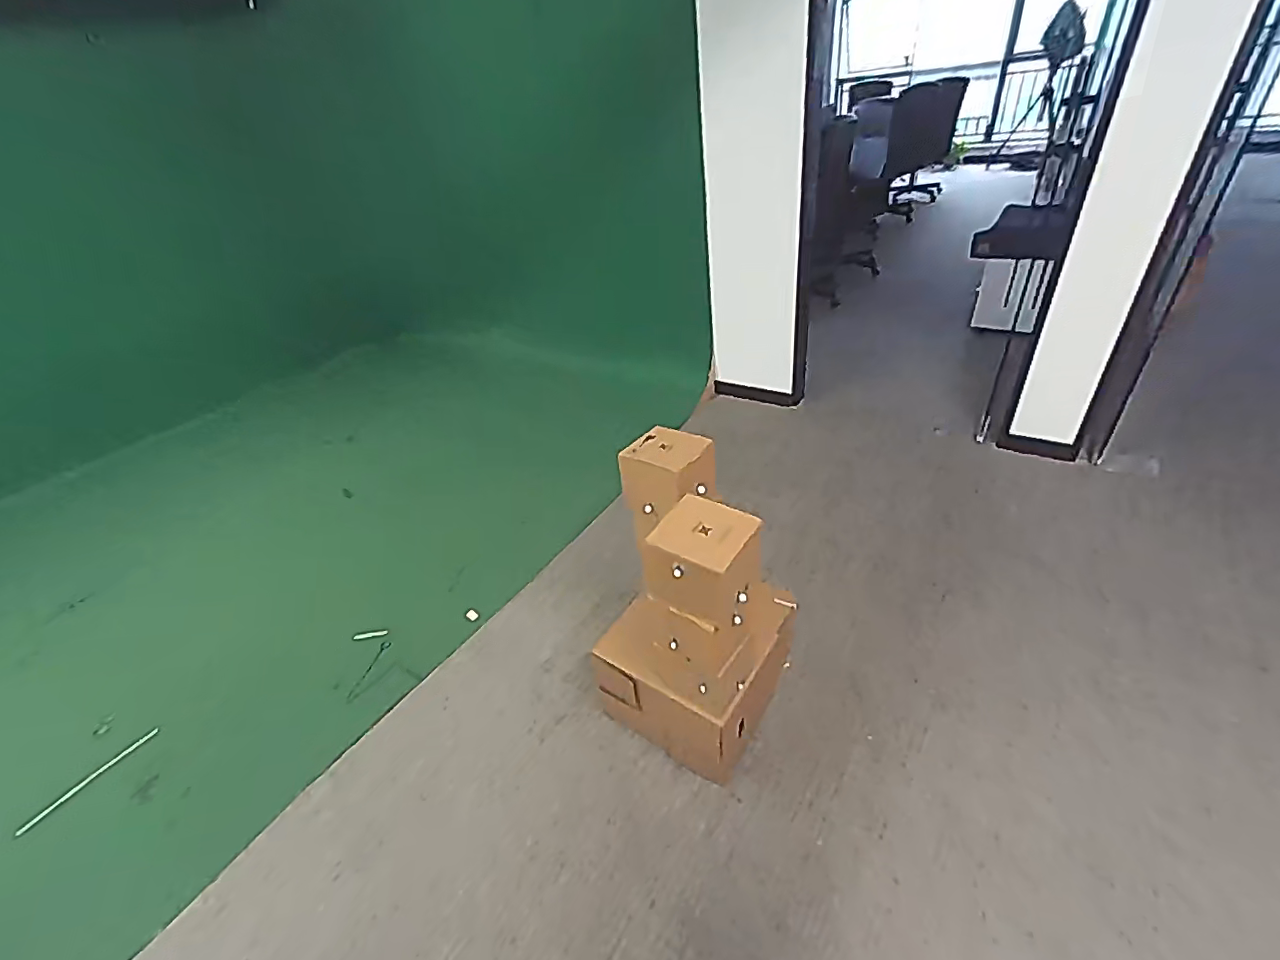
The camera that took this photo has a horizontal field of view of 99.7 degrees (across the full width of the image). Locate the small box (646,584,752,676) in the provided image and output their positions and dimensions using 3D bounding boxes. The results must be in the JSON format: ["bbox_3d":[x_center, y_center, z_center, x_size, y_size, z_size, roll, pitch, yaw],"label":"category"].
[{"bbox_3d":[0.133,0.291,1.200,0.168,0.176,0.179,22,46,33],"label":"small box"}]

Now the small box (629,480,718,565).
[{"bbox_3d":[0.092,0.130,1.435,0.168,0.176,0.179,19,42,34],"label":"small box"}]

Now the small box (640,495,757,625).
[{"bbox_3d":[0.122,0.163,1.100,0.179,0.176,0.168,20,45,30],"label":"small box"}]
